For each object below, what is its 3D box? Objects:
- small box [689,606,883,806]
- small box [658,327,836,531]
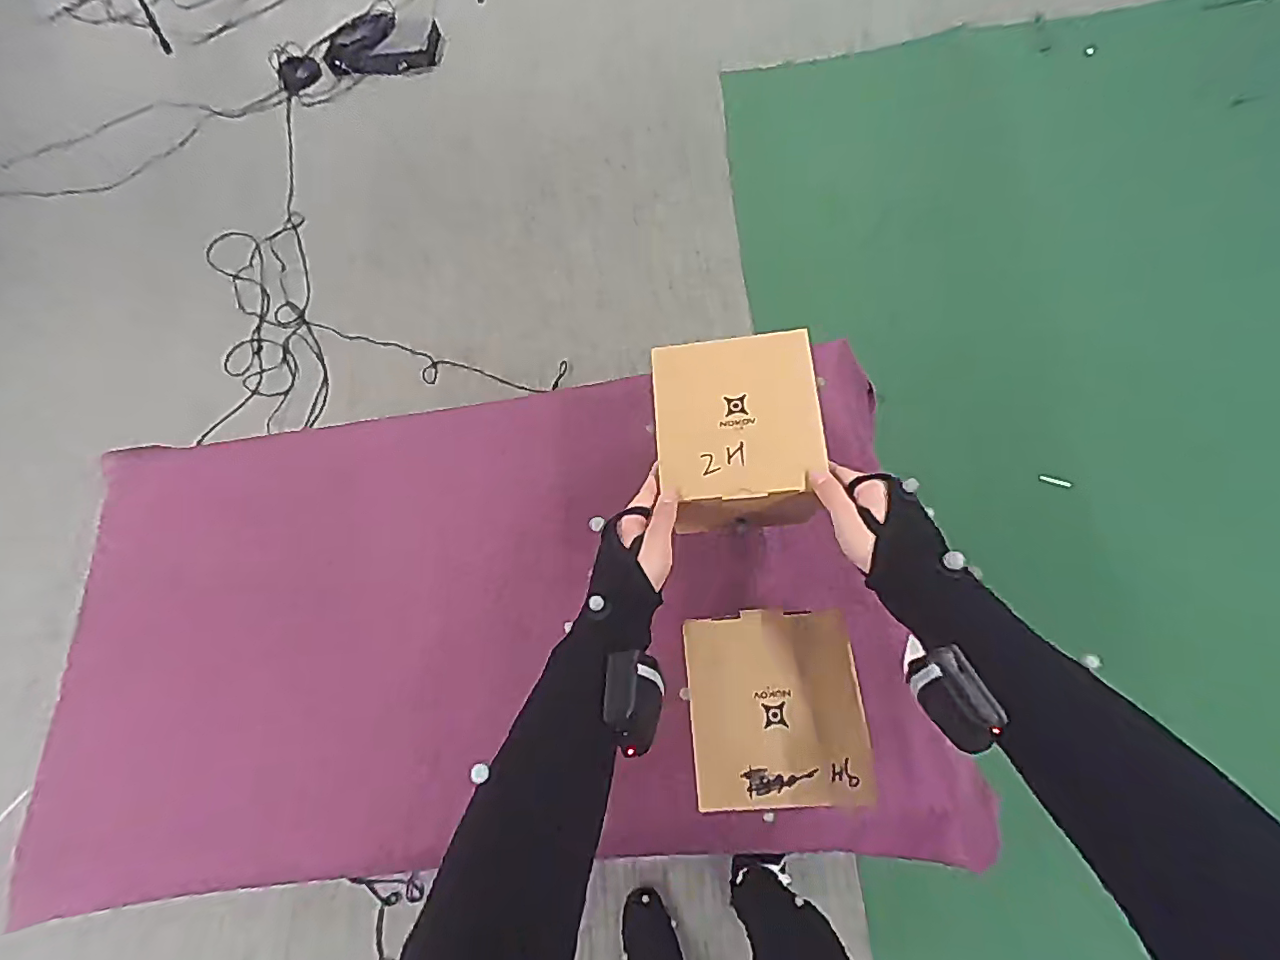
[{"bbox_3d":[0.143,0.245,0.595,0.168,0.176,0.179,-6,67,6],"label":"small box"},{"bbox_3d":[0.113,-0.047,0.616,0.168,0.176,0.179,-5,74,8],"label":"small box"}]
